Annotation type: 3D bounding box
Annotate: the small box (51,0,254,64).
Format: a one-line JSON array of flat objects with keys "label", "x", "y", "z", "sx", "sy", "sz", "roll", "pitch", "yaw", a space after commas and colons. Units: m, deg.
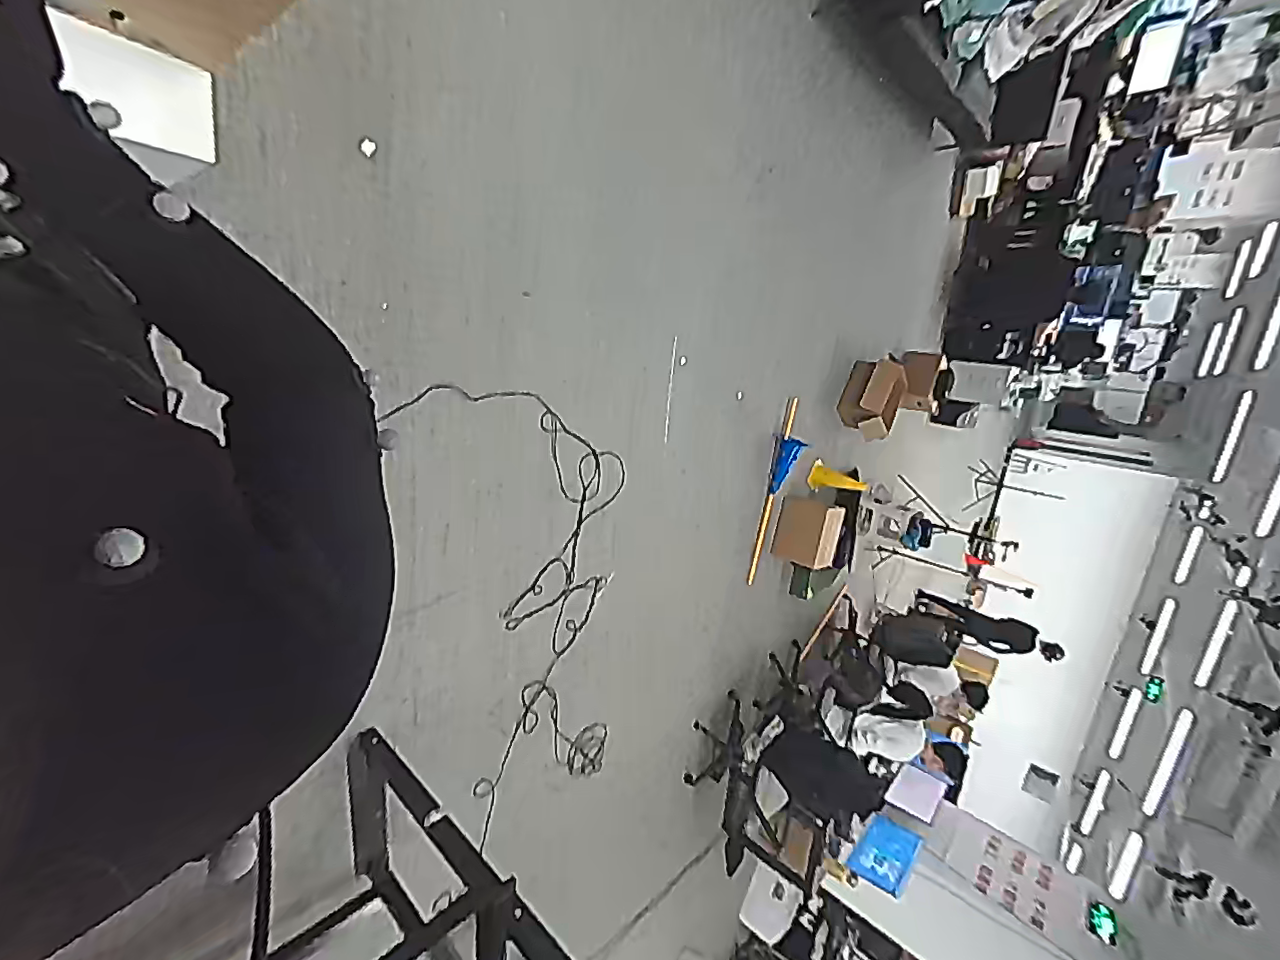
[{"label": "small box", "x": -0.505, "y": -0.567, "z": 0.539, "sx": 0.168, "sy": 0.176, "sz": 0.179, "roll": -5, "pitch": 108, "yaw": -48}]
